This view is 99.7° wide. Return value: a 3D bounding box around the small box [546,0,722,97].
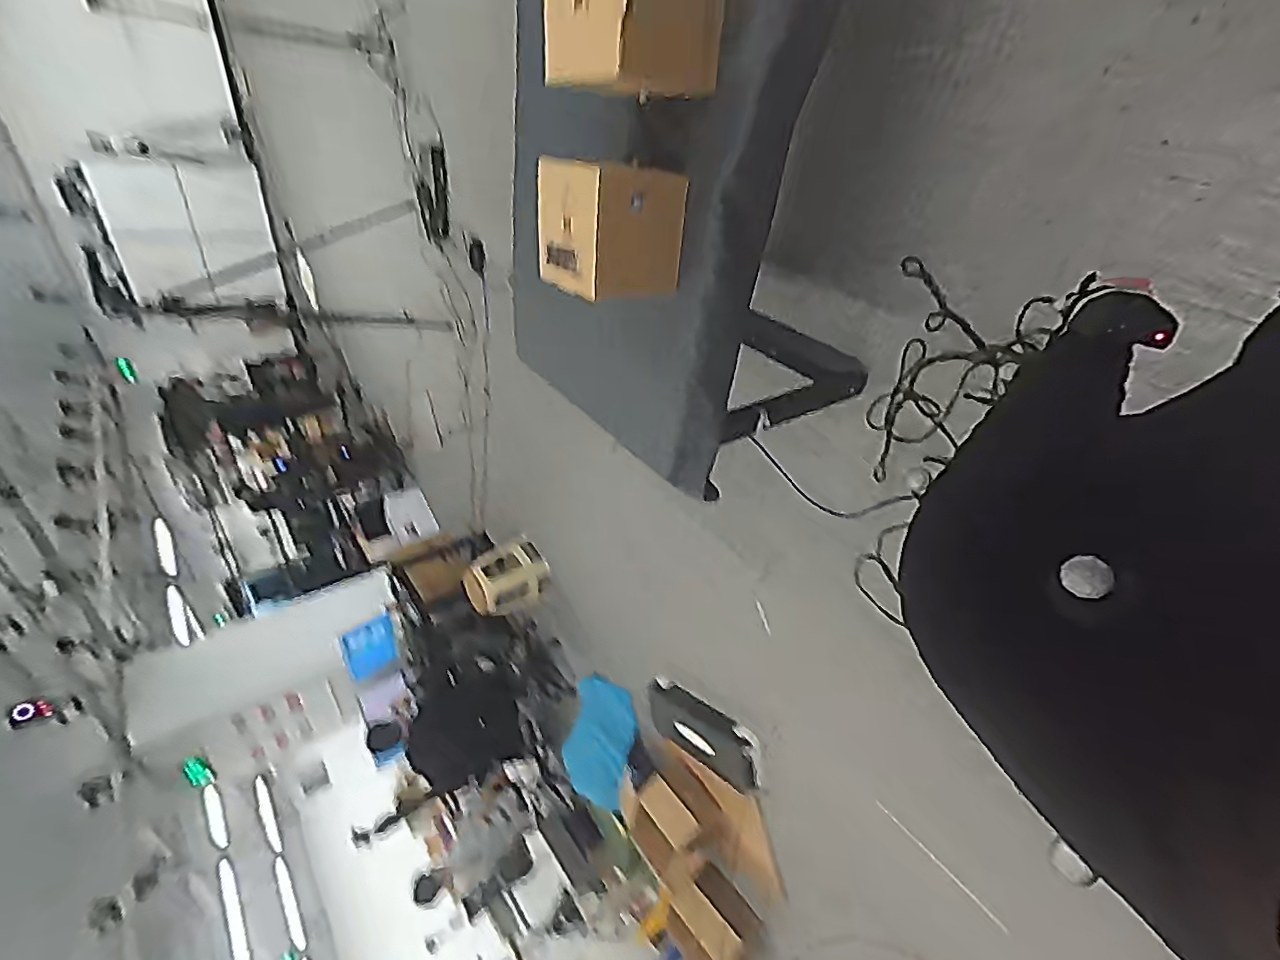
[{"bbox_3d":[-0.007,-0.614,0.709,0.179,0.176,0.168,35,132,42],"label":"small box"}]
